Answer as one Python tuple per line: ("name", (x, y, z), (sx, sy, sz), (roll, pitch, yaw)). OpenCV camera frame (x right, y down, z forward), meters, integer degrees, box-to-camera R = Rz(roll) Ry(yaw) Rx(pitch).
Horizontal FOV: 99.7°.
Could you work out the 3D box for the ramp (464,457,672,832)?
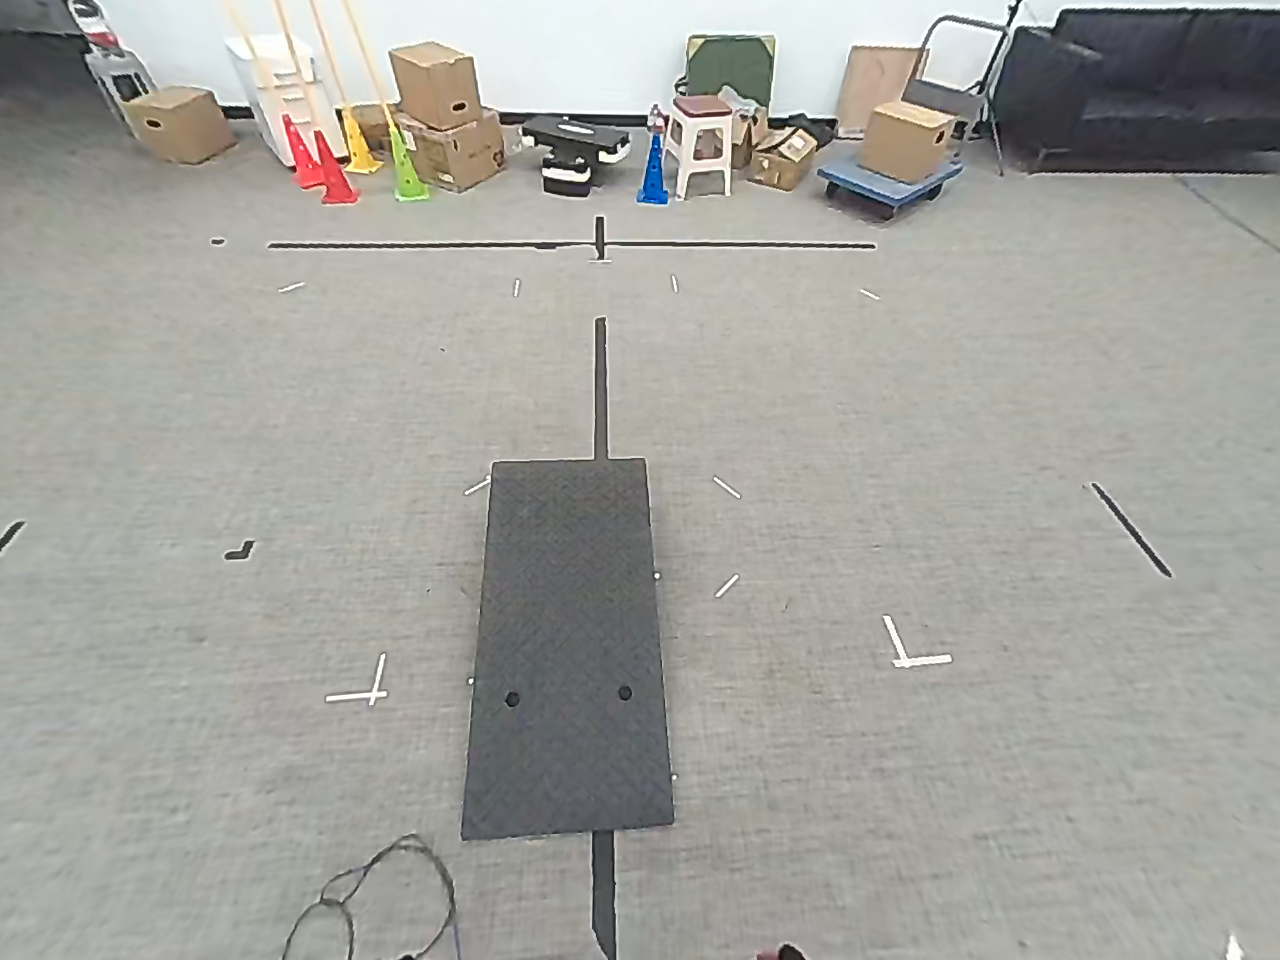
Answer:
("ramp", (-0.191, 0.367, 1.498), (0.509, 0.206, 0.991), (-2, 50, -6))
